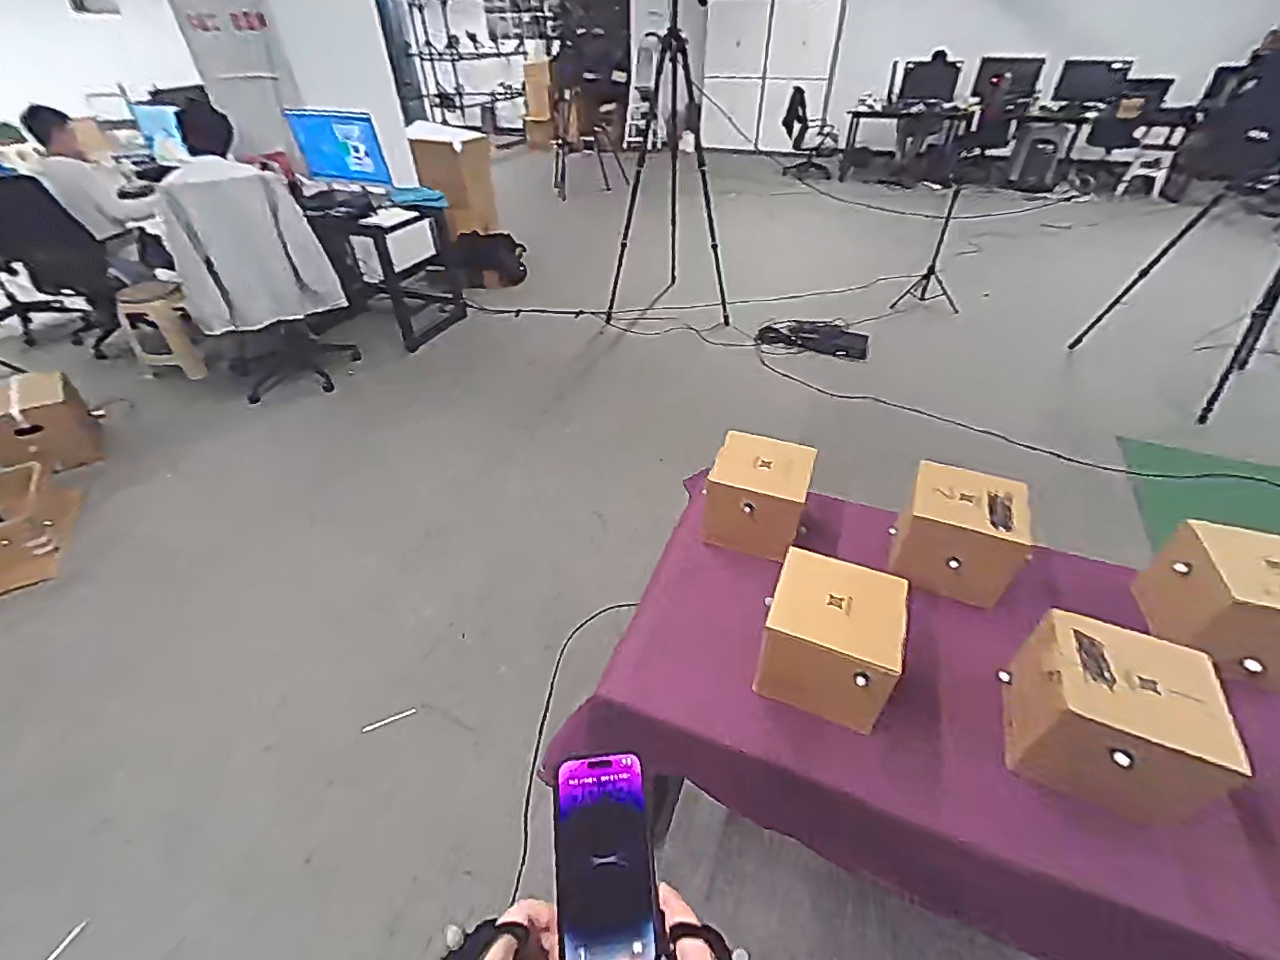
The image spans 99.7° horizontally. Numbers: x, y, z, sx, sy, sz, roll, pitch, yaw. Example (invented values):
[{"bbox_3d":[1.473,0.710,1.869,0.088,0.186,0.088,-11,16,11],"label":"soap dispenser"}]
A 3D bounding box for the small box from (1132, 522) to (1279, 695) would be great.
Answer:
[{"bbox_3d":[0.933,0.199,0.850,0.168,0.176,0.179,12,42,16],"label":"small box"}]

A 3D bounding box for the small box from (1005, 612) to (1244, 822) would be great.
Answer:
[{"bbox_3d":[0.612,0.314,0.719,0.179,0.176,0.168,17,43,19],"label":"small box"}]

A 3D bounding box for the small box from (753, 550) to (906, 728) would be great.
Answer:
[{"bbox_3d":[0.281,0.240,0.816,0.179,0.176,0.168,16,42,18],"label":"small box"}]
